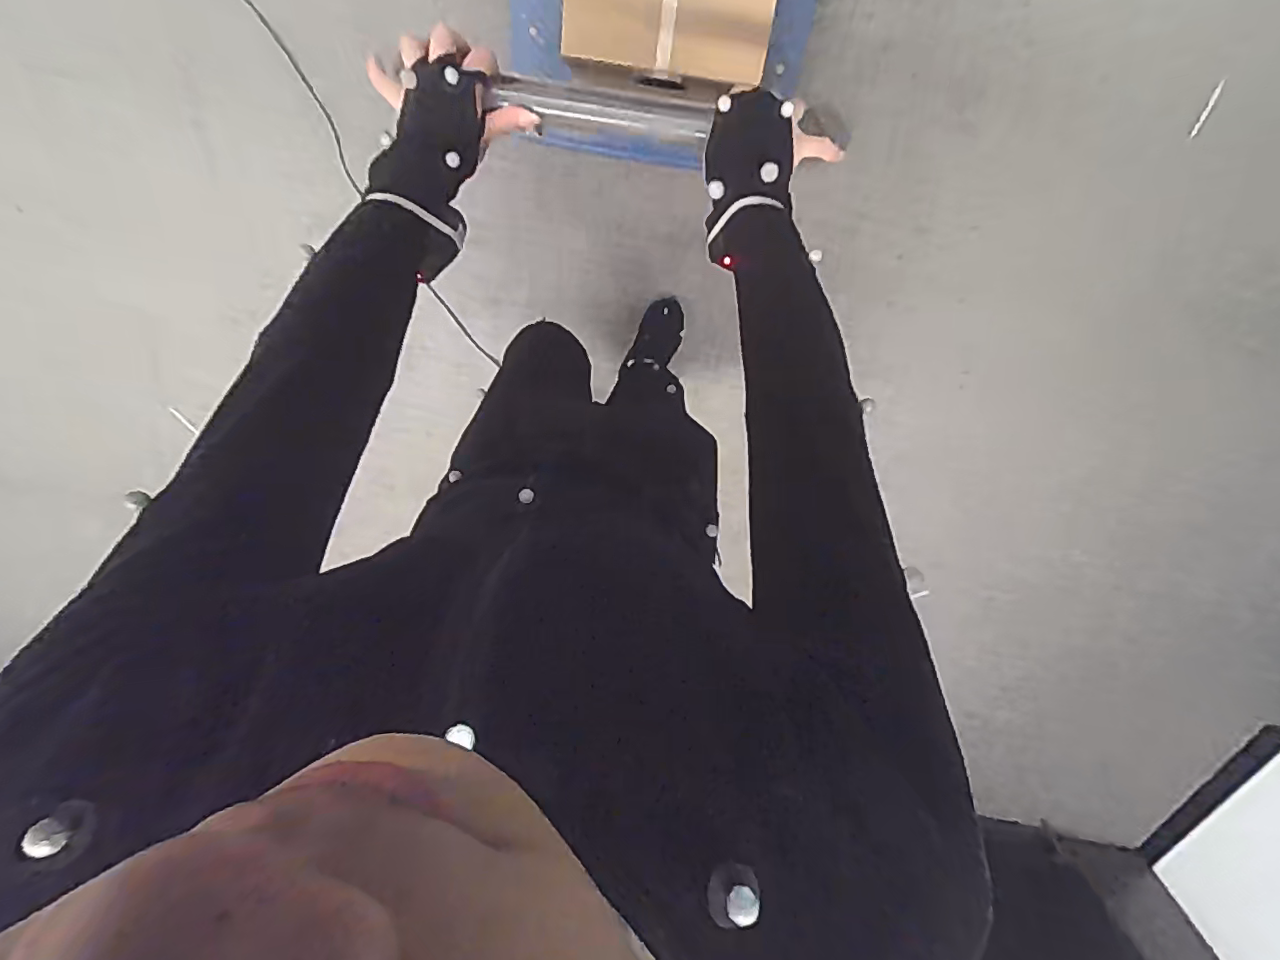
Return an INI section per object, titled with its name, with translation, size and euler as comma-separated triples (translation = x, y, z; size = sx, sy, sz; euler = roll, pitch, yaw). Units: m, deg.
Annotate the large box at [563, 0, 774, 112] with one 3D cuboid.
[large box]
translation = 0.063, -0.881, 0.886
size = 0.320, 0.320, 0.408
euler = 8, 115, -2
